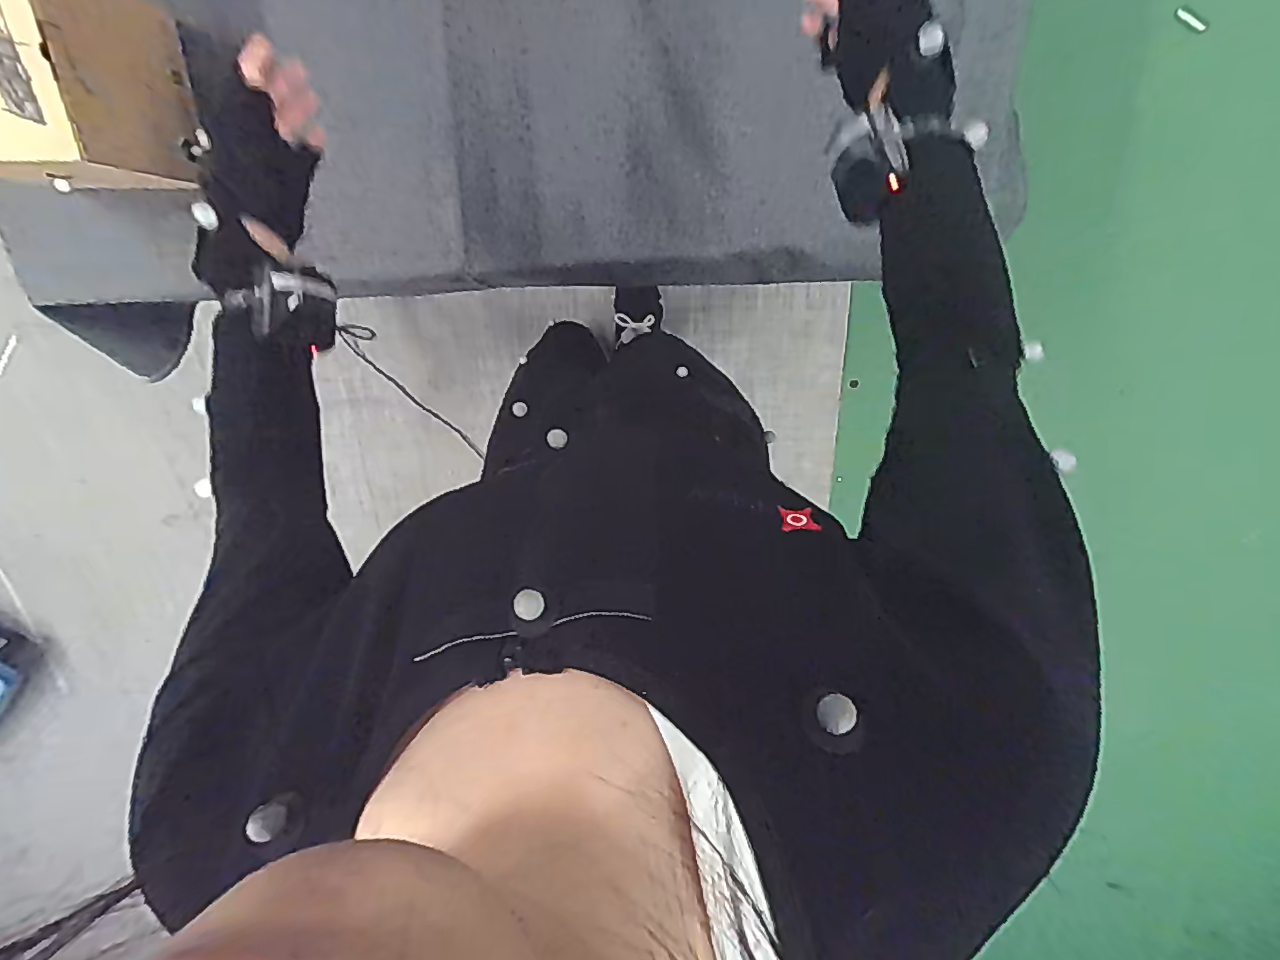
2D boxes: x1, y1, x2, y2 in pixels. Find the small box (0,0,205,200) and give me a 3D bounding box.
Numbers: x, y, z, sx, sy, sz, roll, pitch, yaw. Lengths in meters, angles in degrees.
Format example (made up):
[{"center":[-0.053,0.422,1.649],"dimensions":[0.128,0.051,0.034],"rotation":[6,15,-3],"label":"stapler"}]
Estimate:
[{"center":[-0.584,-0.384,0.539],"dimensions":[0.179,0.176,0.168],"rotation":[0,110,0],"label":"small box"}]
